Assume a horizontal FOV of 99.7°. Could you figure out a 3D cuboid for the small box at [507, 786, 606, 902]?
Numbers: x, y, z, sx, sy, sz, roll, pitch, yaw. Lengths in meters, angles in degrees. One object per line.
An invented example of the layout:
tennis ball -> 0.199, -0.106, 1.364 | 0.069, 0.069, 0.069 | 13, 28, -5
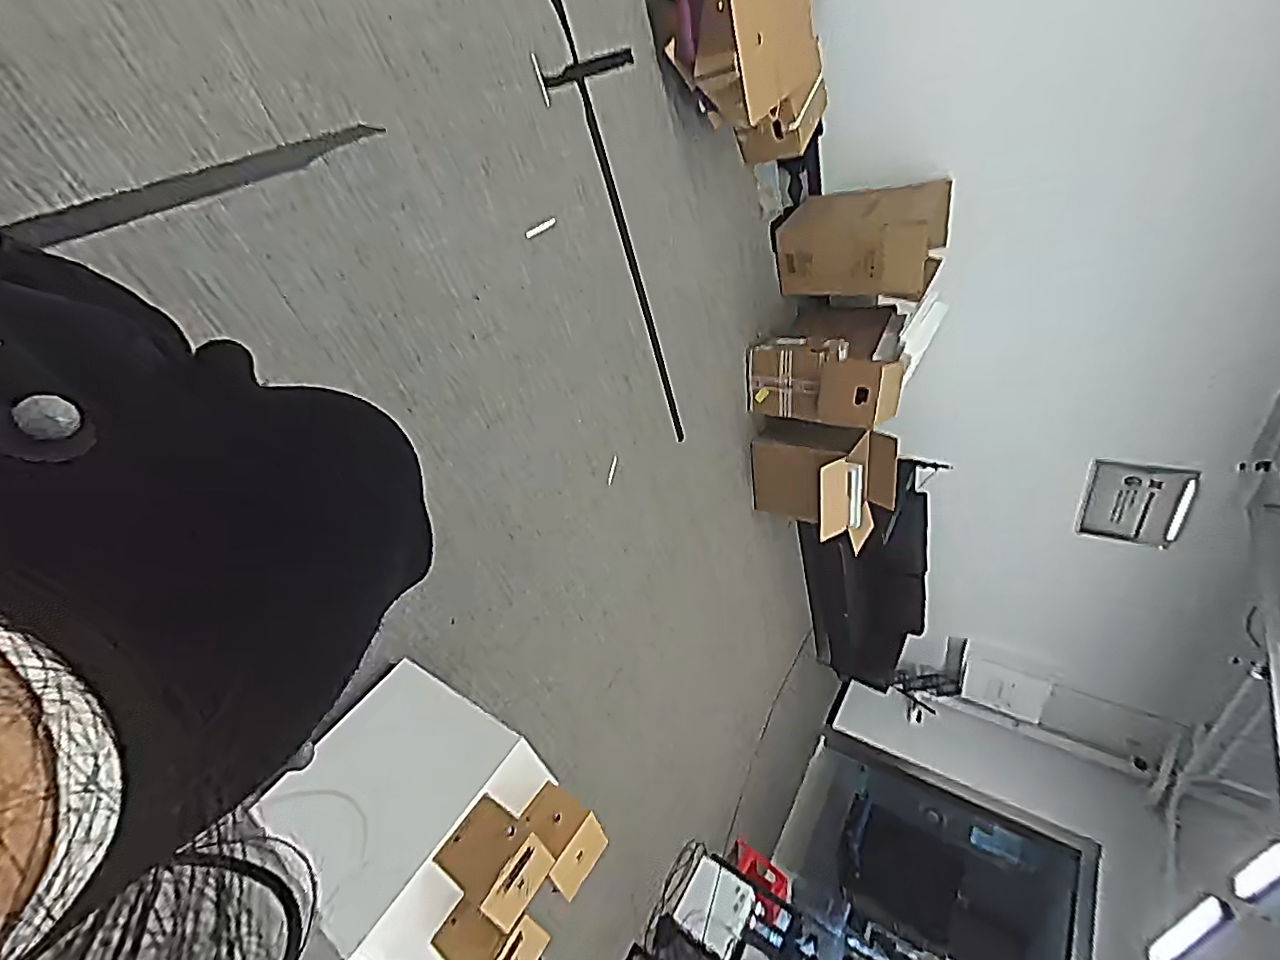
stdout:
small box -> -0.221, 0.946, 1.423 | 0.168, 0.176, 0.179 | -44, 132, -37
